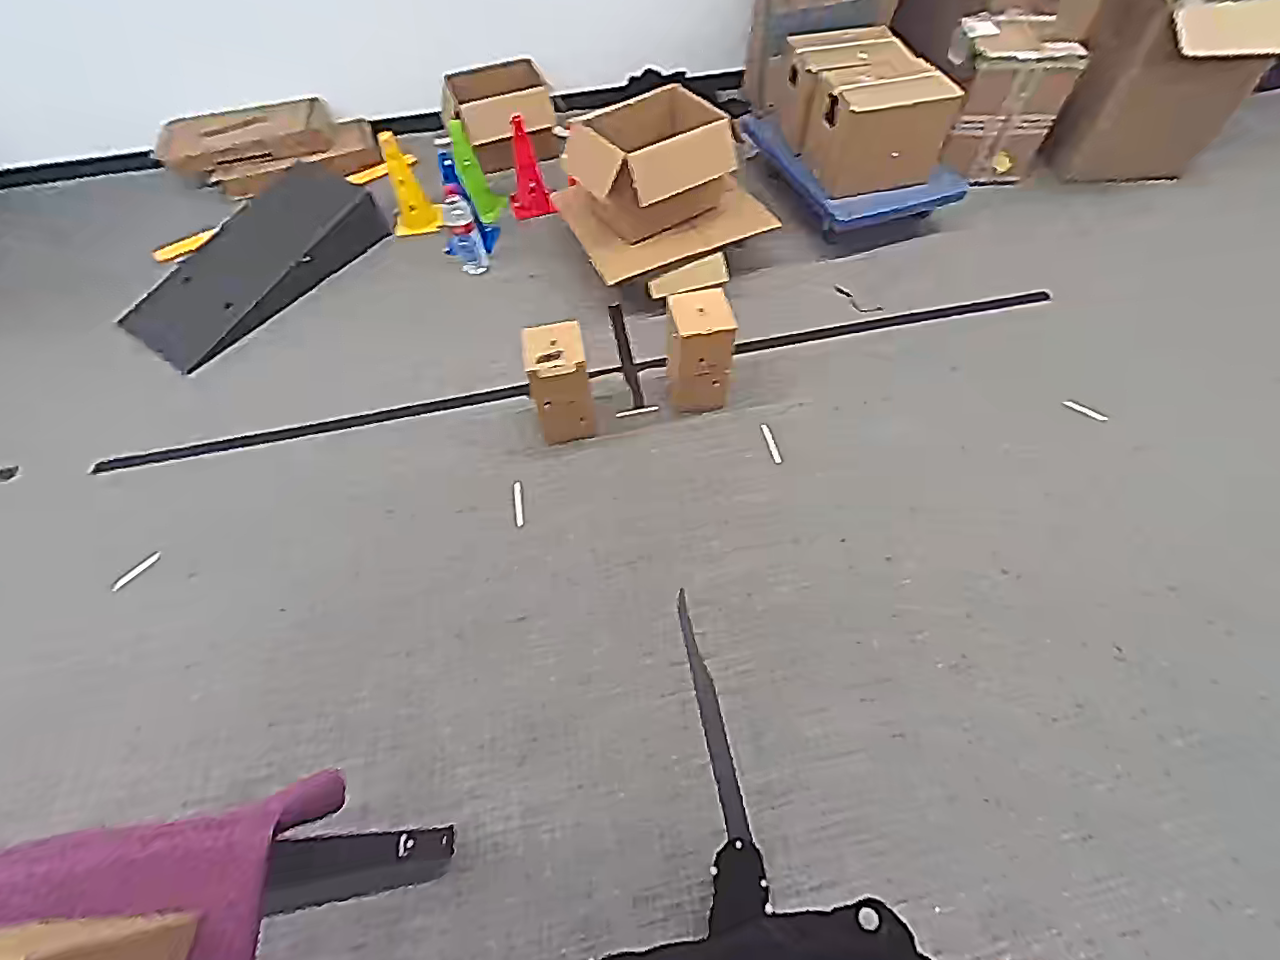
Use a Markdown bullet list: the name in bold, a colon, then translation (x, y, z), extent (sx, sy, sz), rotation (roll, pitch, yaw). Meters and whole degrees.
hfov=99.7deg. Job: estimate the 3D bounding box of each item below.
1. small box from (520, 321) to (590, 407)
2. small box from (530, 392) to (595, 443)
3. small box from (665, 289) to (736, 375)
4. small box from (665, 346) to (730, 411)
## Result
- **small box**: translation (-0.241, -0.326, 1.557), extent (0.168, 0.176, 0.179), rotation (-10, 57, -4)
- **small box**: translation (-0.242, -0.238, 1.696), extent (0.179, 0.176, 0.168), rotation (-13, 58, -5)
- **small box**: translation (0.173, -0.440, 1.614), extent (0.168, 0.176, 0.179), rotation (-10, 59, -5)
- **small box**: translation (0.179, -0.343, 1.745), extent (0.179, 0.176, 0.168), rotation (-7, 58, -3)
